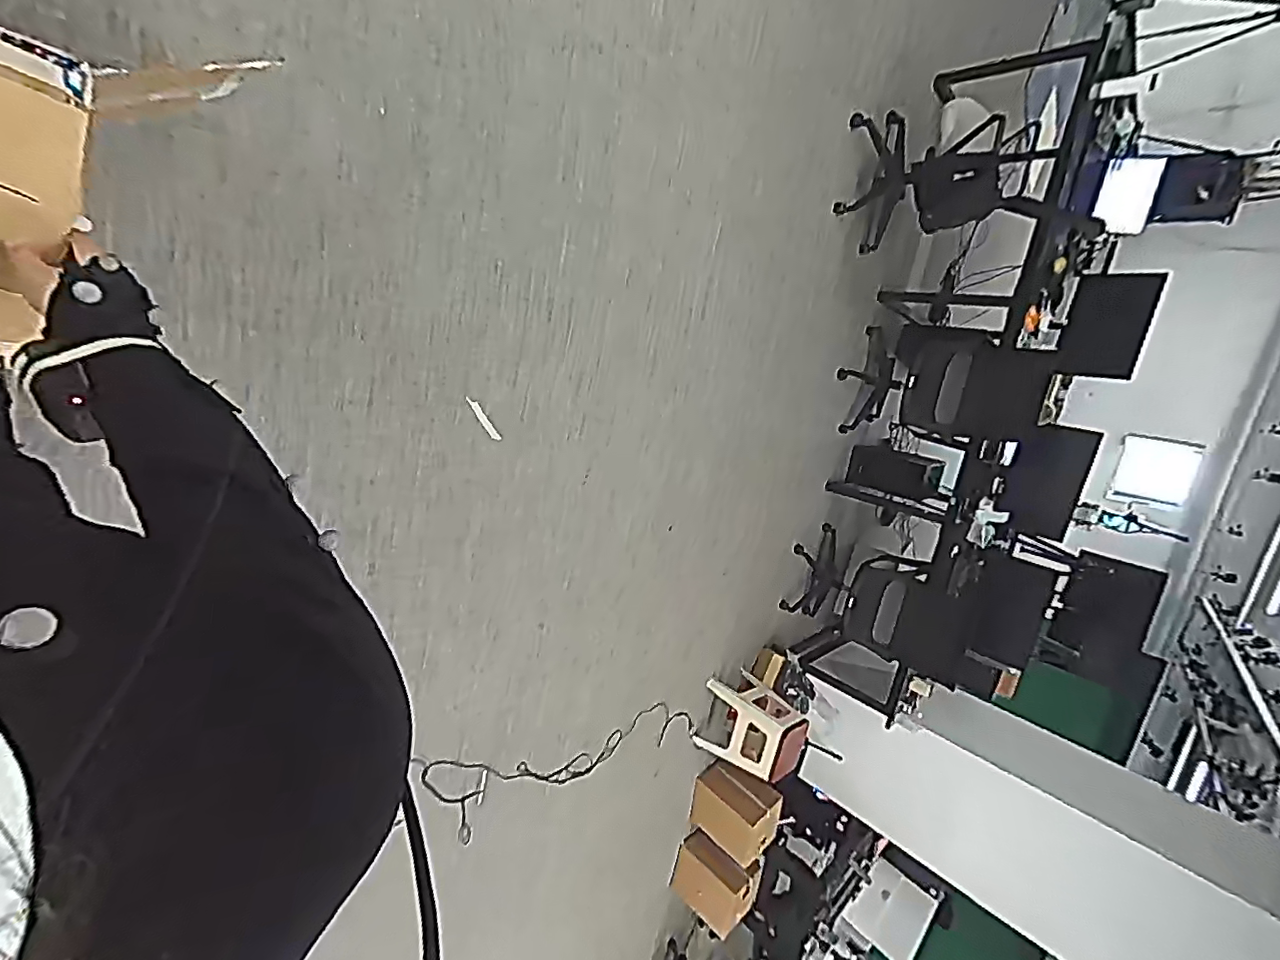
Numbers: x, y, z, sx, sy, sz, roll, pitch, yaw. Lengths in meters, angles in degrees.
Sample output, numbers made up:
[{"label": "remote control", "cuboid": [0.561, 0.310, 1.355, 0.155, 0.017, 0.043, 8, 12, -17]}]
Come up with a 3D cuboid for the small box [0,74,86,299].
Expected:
[{"label": "small box", "cuboid": [-0.601, -0.263, 0.446, 0.179, 0.176, 0.168, 8, 101, -52]}]
